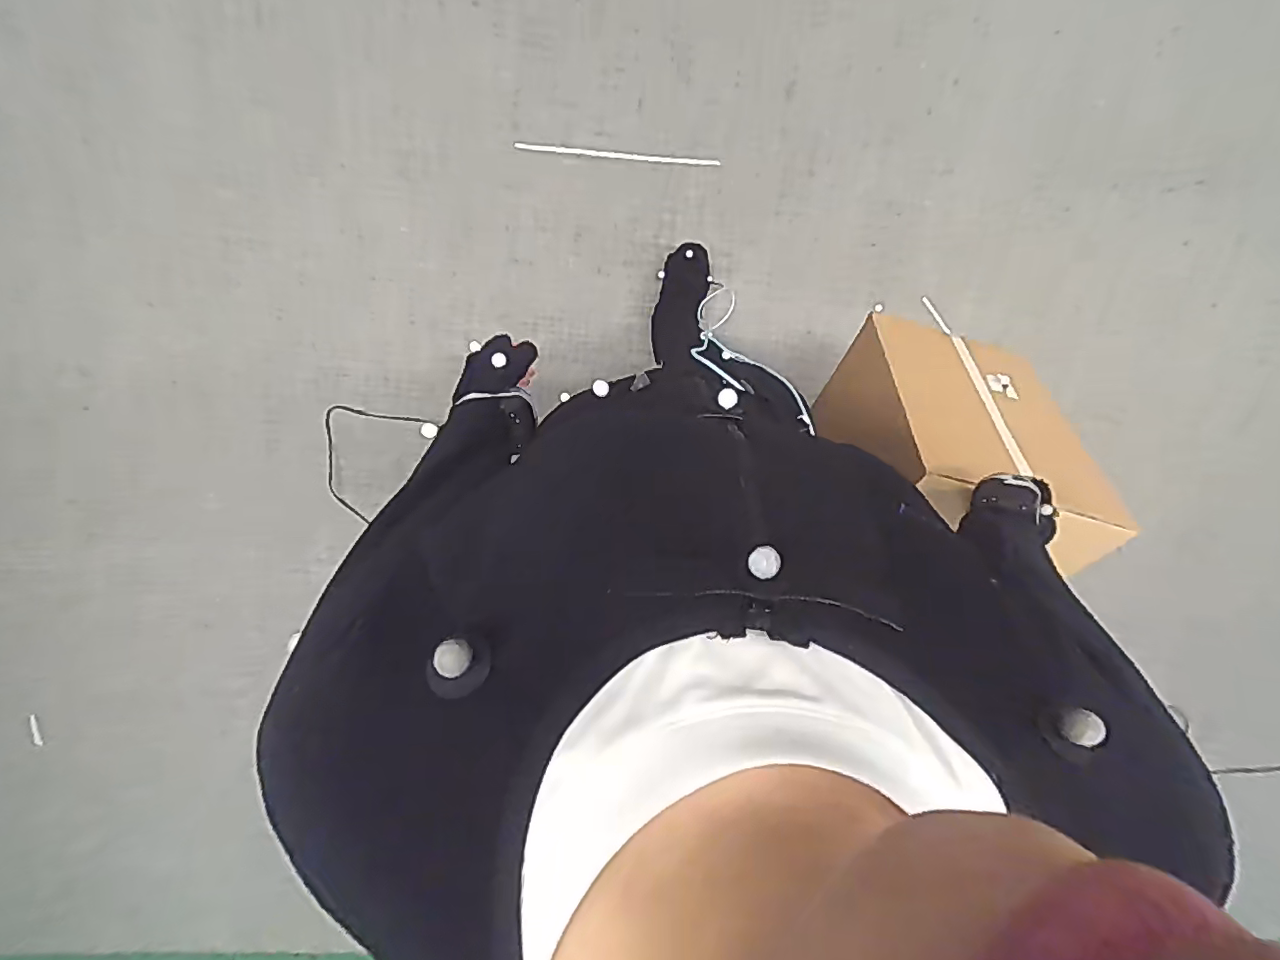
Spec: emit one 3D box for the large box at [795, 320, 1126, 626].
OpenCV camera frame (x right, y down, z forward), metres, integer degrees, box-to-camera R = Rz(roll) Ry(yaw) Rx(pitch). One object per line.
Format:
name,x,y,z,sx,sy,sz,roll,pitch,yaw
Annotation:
large box,0.494,-0.013,0.952,0.320,0.408,0.320,15,136,-6
